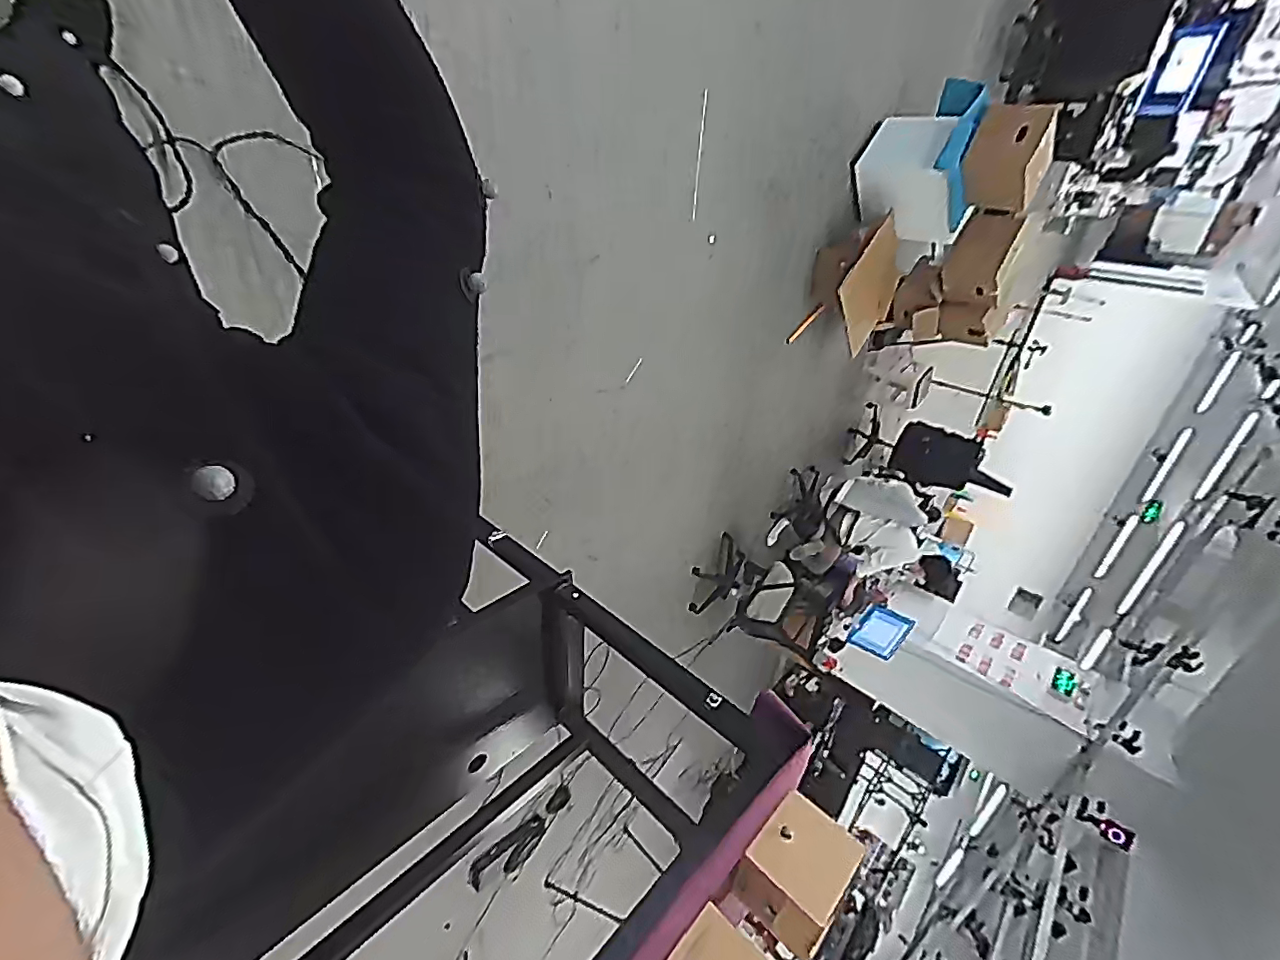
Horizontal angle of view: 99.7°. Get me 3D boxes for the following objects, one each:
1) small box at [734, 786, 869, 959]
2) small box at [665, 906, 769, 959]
[{"bbox_3d":[0.301,0.741,1.032,0.179,0.176,0.168,-27,133,-39],"label":"small box"},{"bbox_3d":[0.114,0.834,0.855,0.168,0.176,0.179,-24,131,-42],"label":"small box"}]
